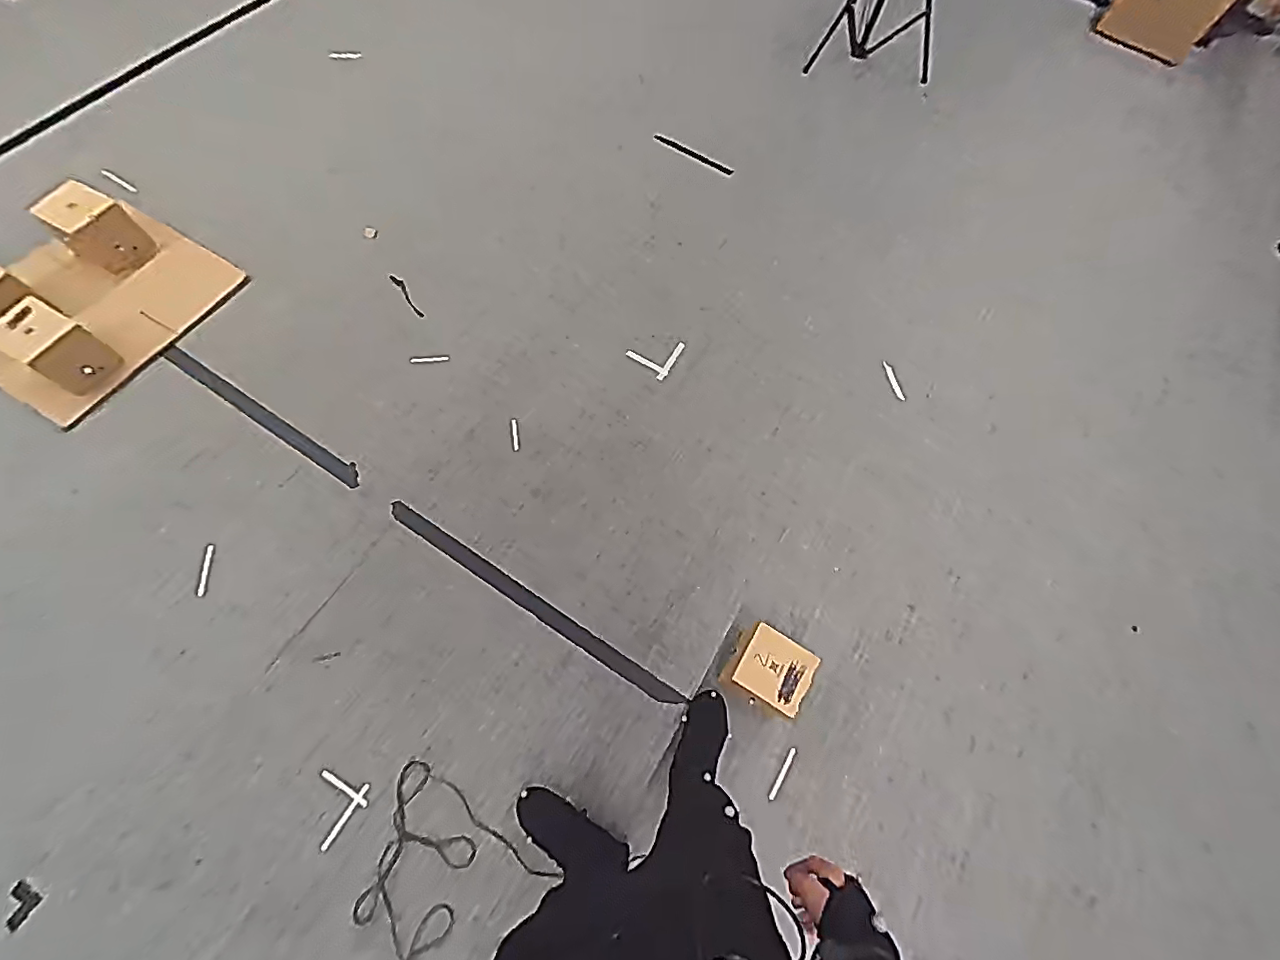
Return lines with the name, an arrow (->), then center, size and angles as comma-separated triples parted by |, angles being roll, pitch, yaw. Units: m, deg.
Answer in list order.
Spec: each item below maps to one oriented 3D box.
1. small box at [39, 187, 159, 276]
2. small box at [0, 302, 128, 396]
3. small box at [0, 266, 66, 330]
small box -> -1.734, -0.795, 1.744 | 0.179, 0.176, 0.168 | 27, 68, 6
small box -> -1.677, -0.374, 1.571 | 0.179, 0.176, 0.168 | 30, 69, 6
small box -> -1.911, -0.531, 1.613 | 0.179, 0.176, 0.168 | 30, 69, 7
